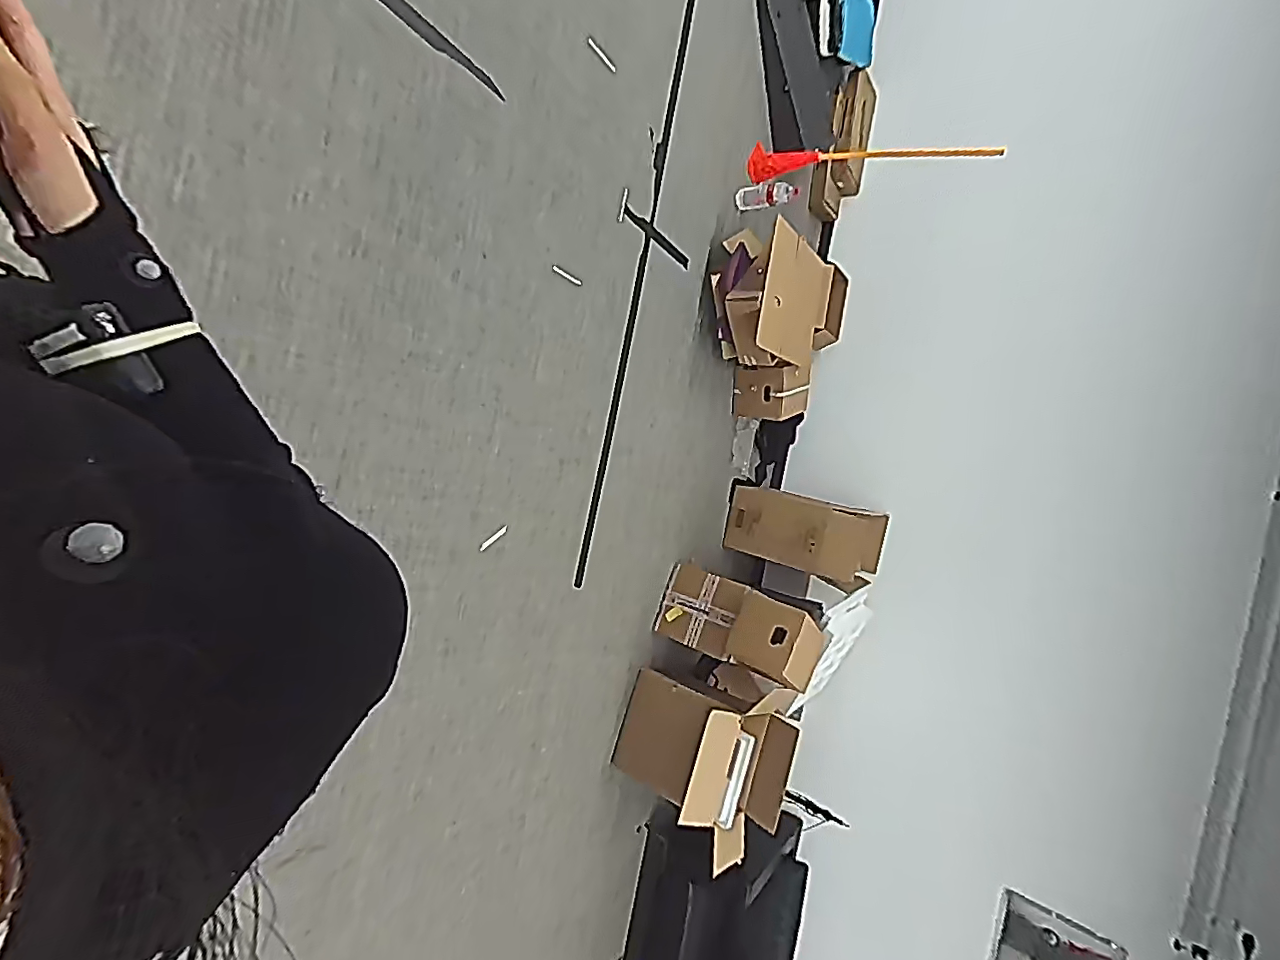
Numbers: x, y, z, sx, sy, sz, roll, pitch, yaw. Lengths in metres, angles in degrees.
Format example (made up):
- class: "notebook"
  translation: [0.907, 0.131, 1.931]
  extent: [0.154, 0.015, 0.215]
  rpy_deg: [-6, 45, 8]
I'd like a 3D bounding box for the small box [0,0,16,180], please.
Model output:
- class: "small box"
  translation: [-0.402, -0.235, 0.224]
  extent: [0.168, 0.176, 0.179]
  rpy_deg: [-9, 84, -53]
